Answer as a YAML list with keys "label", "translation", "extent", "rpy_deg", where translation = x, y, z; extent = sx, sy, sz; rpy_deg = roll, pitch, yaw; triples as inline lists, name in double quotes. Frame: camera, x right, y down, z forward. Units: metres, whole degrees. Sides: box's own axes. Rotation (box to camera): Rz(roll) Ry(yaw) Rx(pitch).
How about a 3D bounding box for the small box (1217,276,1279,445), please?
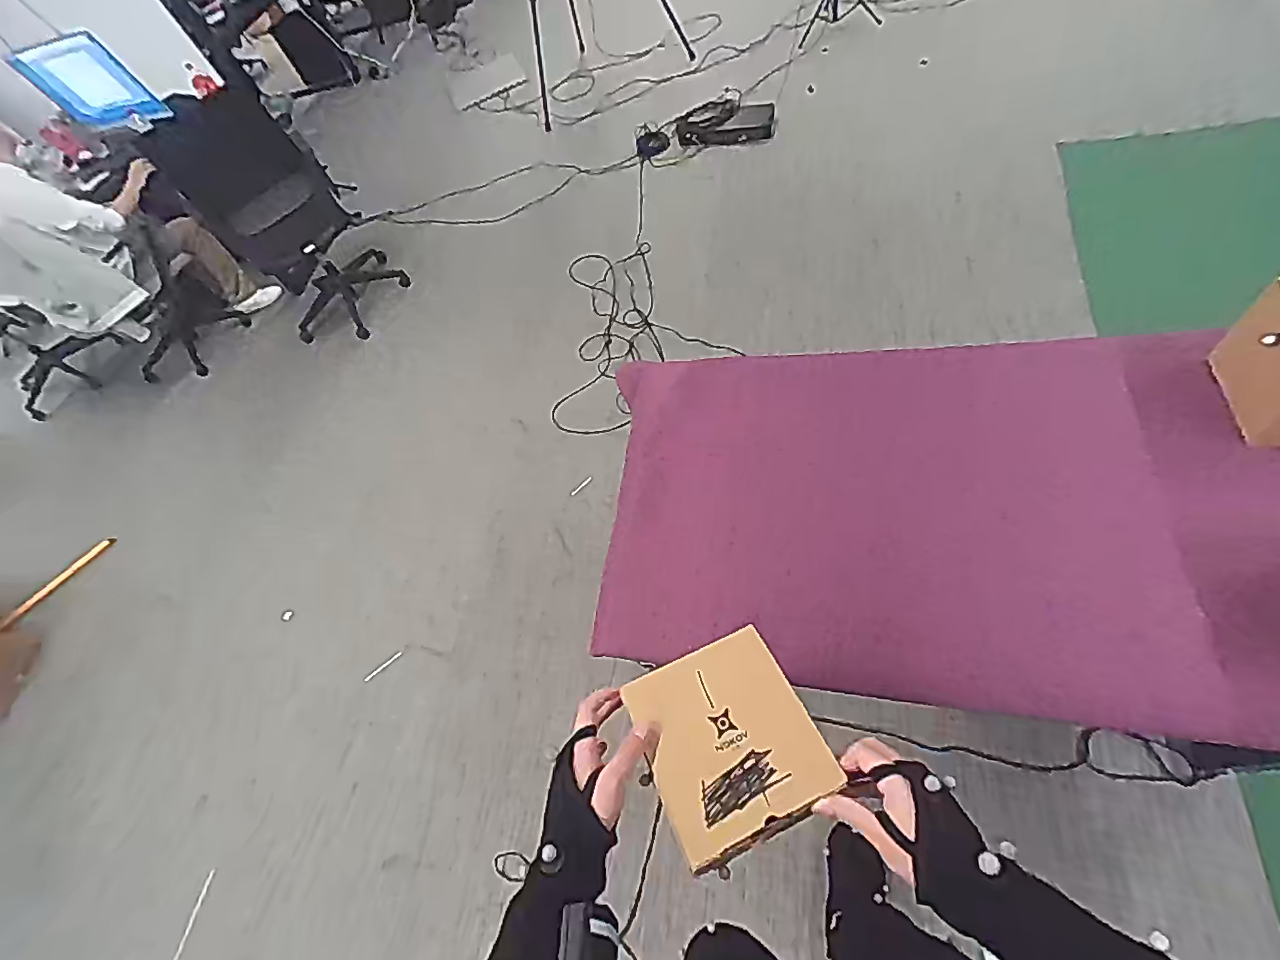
- label: "small box"
  translation: [0.949, -0.166, 0.729]
  extent: [0.168, 0.176, 0.179]
  rpy_deg: [-2, 61, 20]

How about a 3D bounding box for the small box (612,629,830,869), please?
- label: "small box"
  translation: [0.086, 0.305, 0.610]
  extent: [0.168, 0.176, 0.179]
  rpy_deg: [-22, 52, -8]
